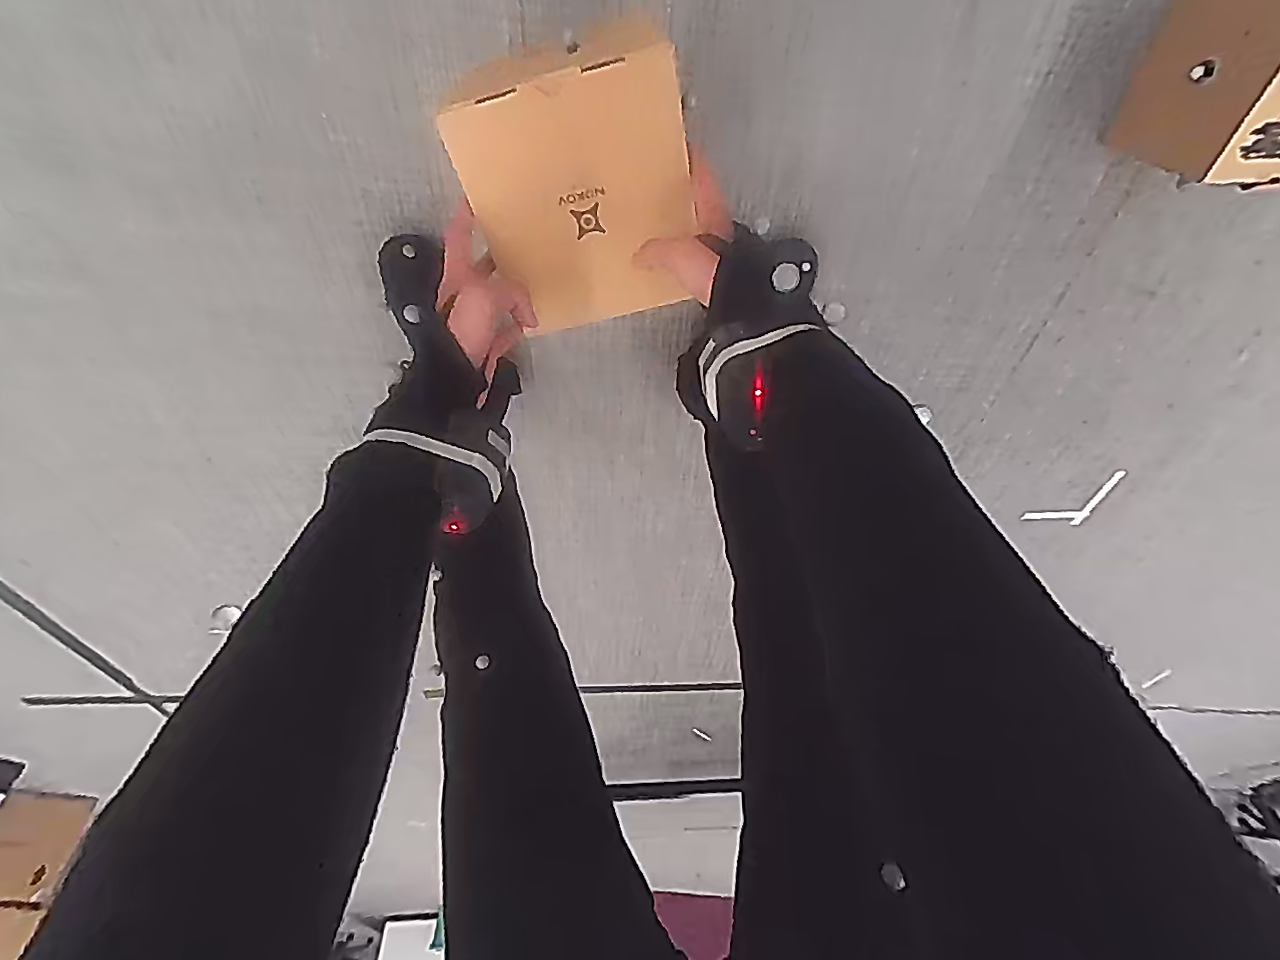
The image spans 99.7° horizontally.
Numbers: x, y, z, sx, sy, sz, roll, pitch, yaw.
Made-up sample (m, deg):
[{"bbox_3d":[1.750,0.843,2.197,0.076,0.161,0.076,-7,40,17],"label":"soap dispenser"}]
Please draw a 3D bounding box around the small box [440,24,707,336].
[{"bbox_3d":[-0.042,-0.257,0.468,0.168,0.176,0.179,-12,134,7],"label":"small box"}]
